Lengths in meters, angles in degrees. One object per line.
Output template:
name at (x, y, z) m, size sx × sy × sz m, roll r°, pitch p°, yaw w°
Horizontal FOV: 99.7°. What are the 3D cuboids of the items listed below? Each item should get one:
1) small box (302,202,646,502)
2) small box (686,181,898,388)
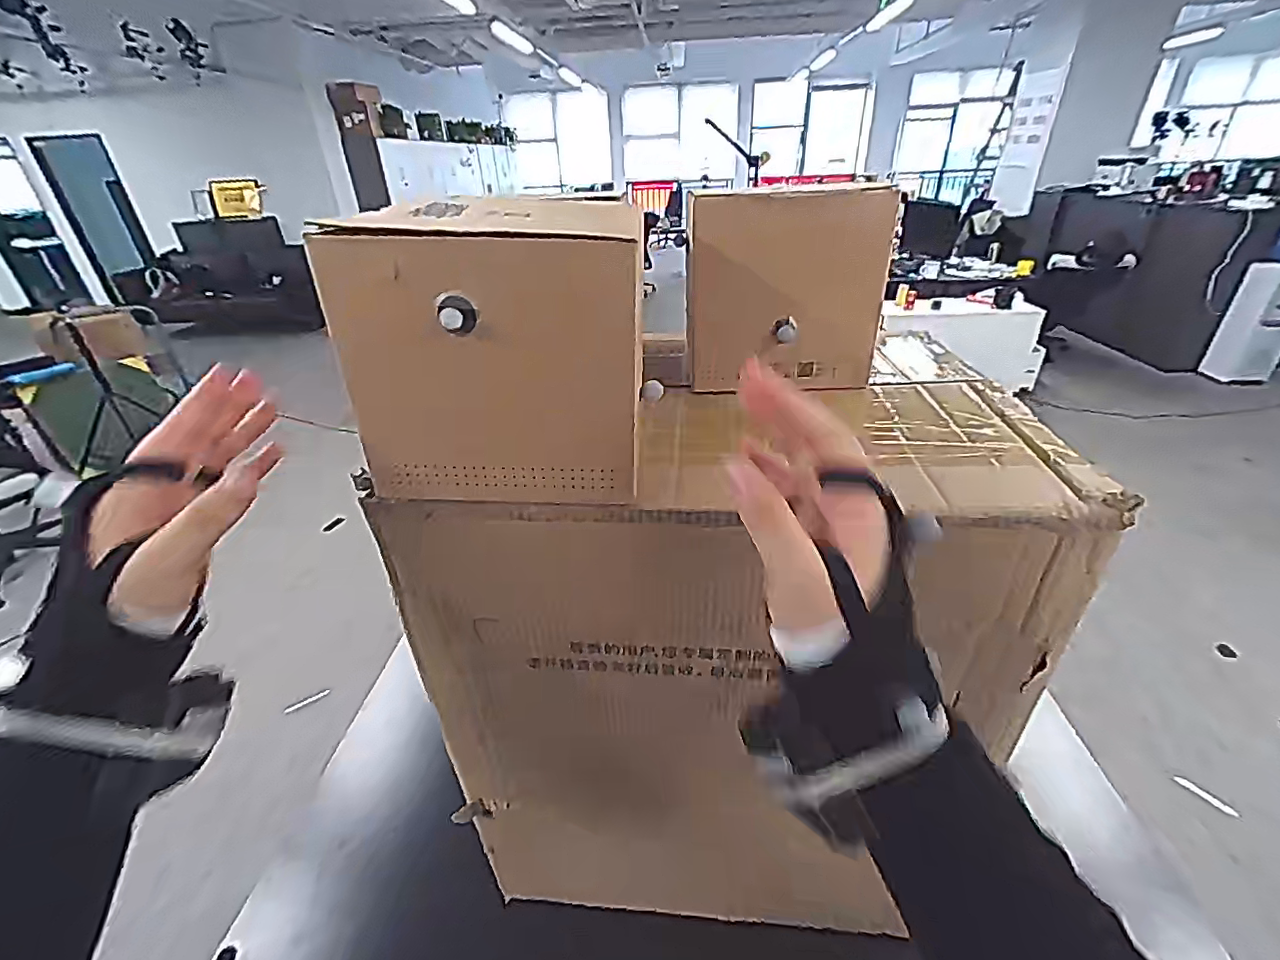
small box at (-0.086, -0.096, 0.383) m, size 0.179 × 0.176 × 0.168 m, roll 2°, pitch 32°, yaw 1°
small box at (0.130, -0.197, 0.539) m, size 0.168 × 0.176 × 0.179 m, roll -2°, pitch 29°, yaw 4°
